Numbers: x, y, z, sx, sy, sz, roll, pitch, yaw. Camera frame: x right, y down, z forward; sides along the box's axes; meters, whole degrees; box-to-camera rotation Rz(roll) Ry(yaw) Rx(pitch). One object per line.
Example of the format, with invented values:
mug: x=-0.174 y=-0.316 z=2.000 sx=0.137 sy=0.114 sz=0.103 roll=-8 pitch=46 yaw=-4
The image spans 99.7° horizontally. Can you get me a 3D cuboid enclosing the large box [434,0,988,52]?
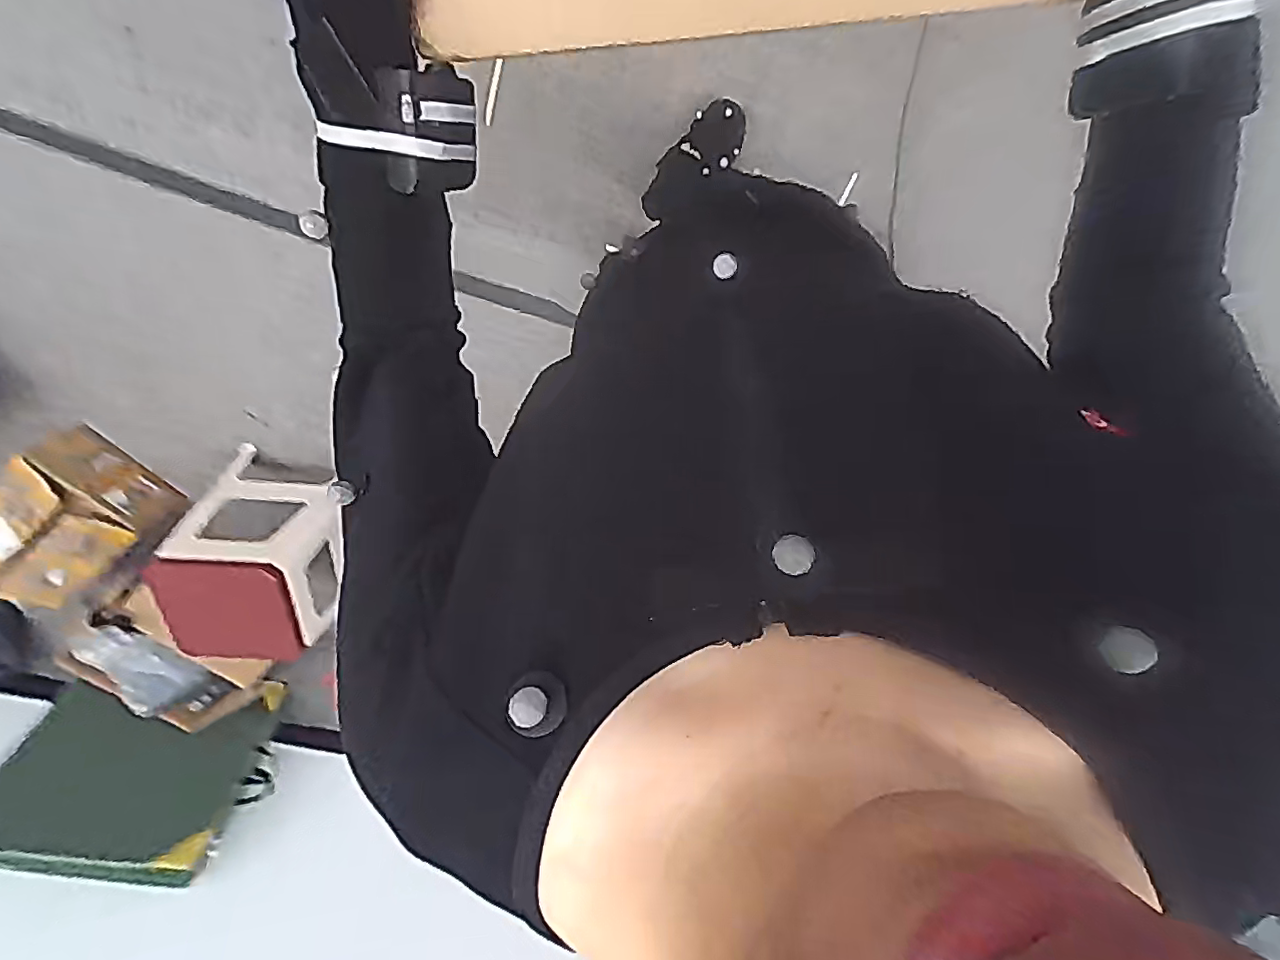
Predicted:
large box: x=0.060 y=-0.490 z=0.343 sx=0.408 sy=0.320 sz=0.320 roll=-4 pitch=130 yaw=1
